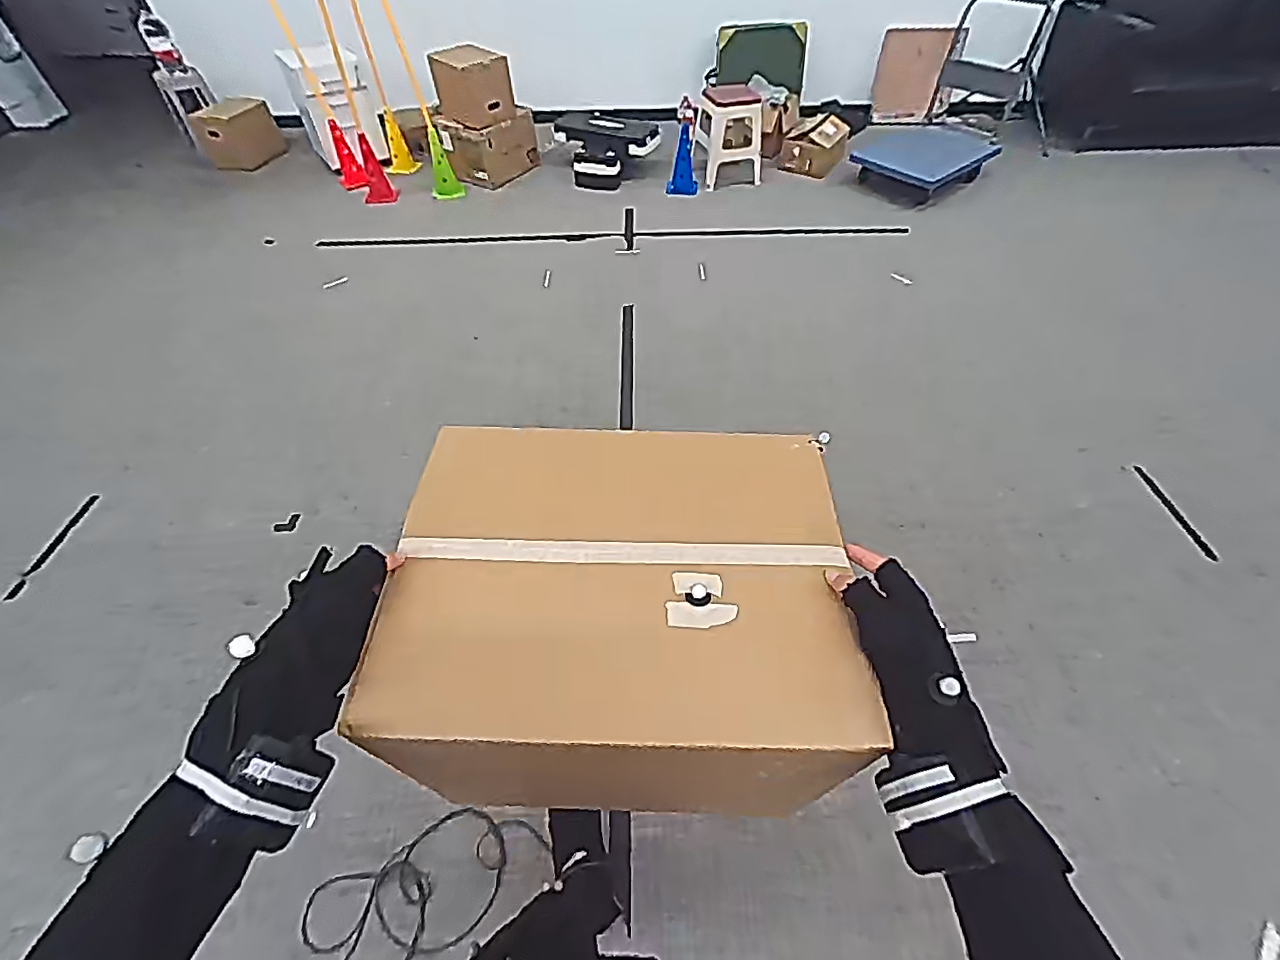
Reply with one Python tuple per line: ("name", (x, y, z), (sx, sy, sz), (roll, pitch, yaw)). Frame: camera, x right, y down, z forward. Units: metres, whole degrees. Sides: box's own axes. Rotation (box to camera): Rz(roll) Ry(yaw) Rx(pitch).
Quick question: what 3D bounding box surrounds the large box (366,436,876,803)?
("large box", (-0.016, 0.167, 0.622), (0.408, 0.320, 0.320), (2, 51, 0))
